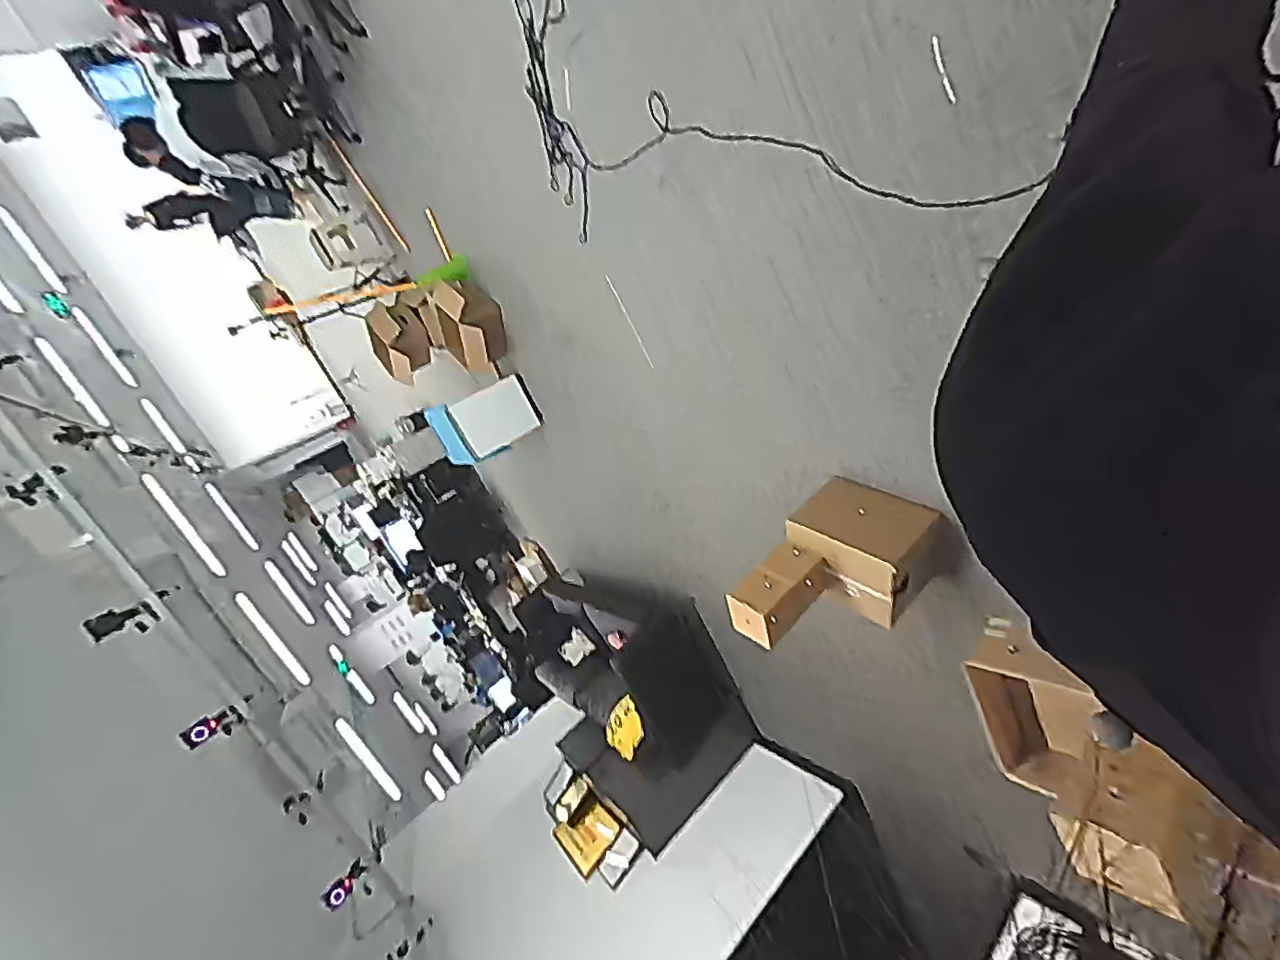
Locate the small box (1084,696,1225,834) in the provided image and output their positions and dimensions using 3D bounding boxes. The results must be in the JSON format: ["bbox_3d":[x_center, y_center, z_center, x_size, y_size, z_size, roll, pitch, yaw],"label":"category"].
[{"bbox_3d":[1.073,0.592,1.126,0.168,0.176,0.179,-4,116,59],"label":"small box"}]

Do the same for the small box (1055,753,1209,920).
[{"bbox_3d":[0.954,0.673,1.048,0.168,0.176,0.179,-8,113,60],"label":"small box"}]

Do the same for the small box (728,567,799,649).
[{"bbox_3d":[0.432,0.438,1.872,0.168,0.176,0.179,22,138,47],"label":"small box"}]
